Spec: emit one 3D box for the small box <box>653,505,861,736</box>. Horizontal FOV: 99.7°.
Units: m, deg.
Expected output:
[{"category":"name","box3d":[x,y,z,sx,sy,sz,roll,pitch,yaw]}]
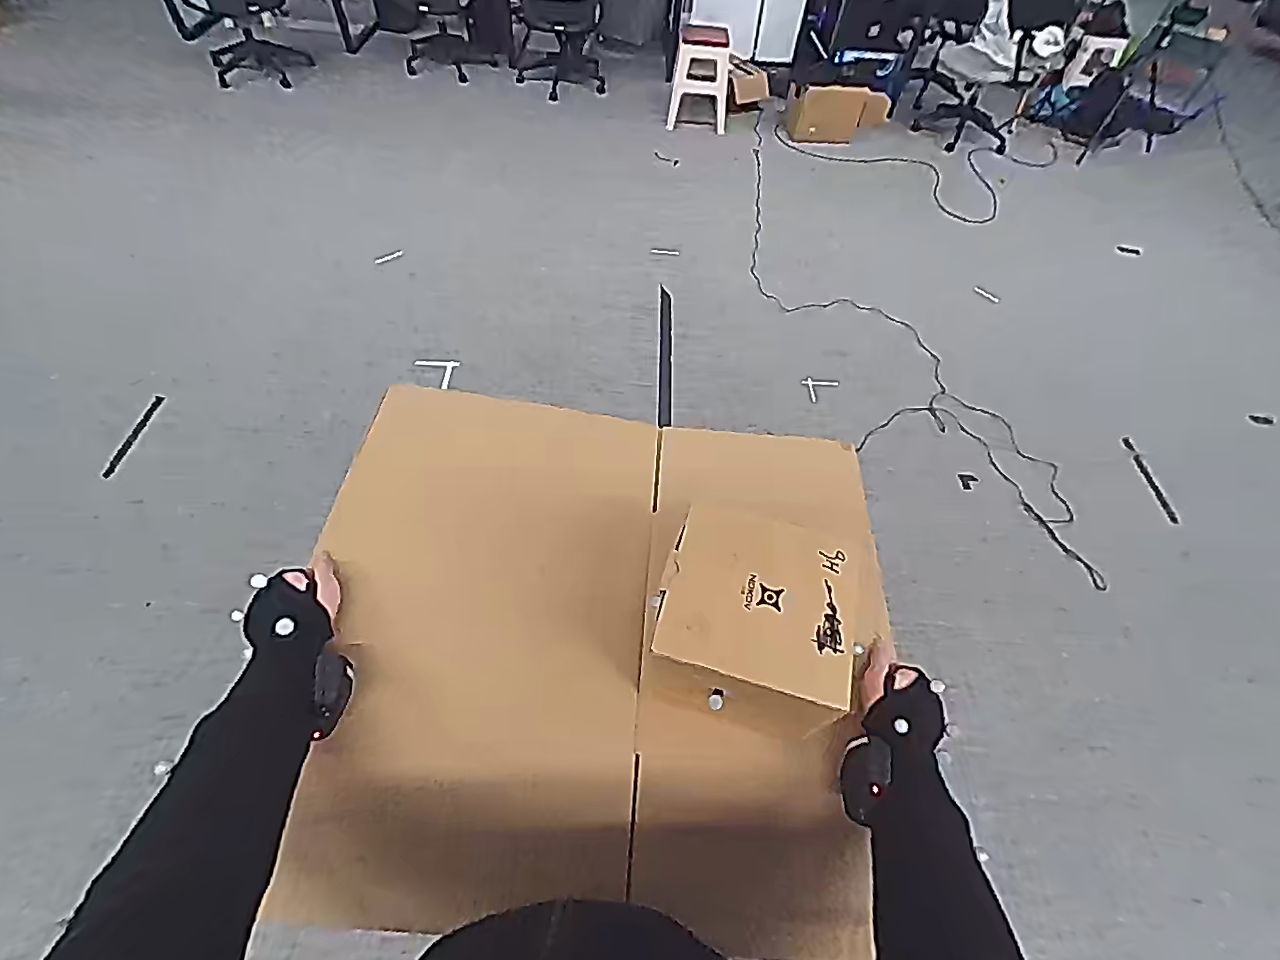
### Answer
[{"category":"small box","box3d":[0.116,0.155,0.578,0.179,0.176,0.168,14,56,9]}]
